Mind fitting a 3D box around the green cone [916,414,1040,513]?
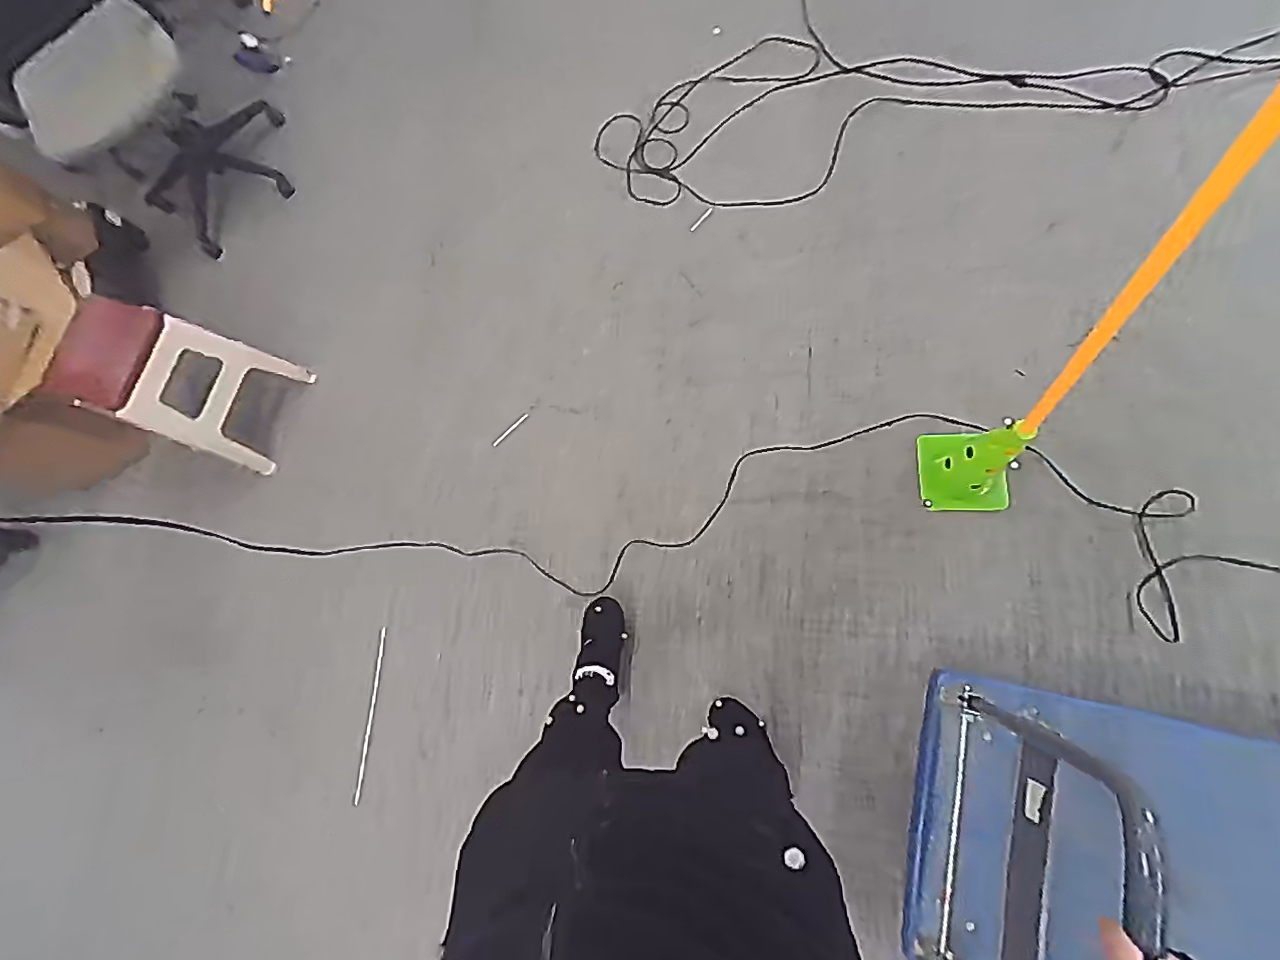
[{"bbox_3d":[0.777,-0.058,1.195,0.200,0.368,0.202,-1,75,11],"label":"green cone"}]
